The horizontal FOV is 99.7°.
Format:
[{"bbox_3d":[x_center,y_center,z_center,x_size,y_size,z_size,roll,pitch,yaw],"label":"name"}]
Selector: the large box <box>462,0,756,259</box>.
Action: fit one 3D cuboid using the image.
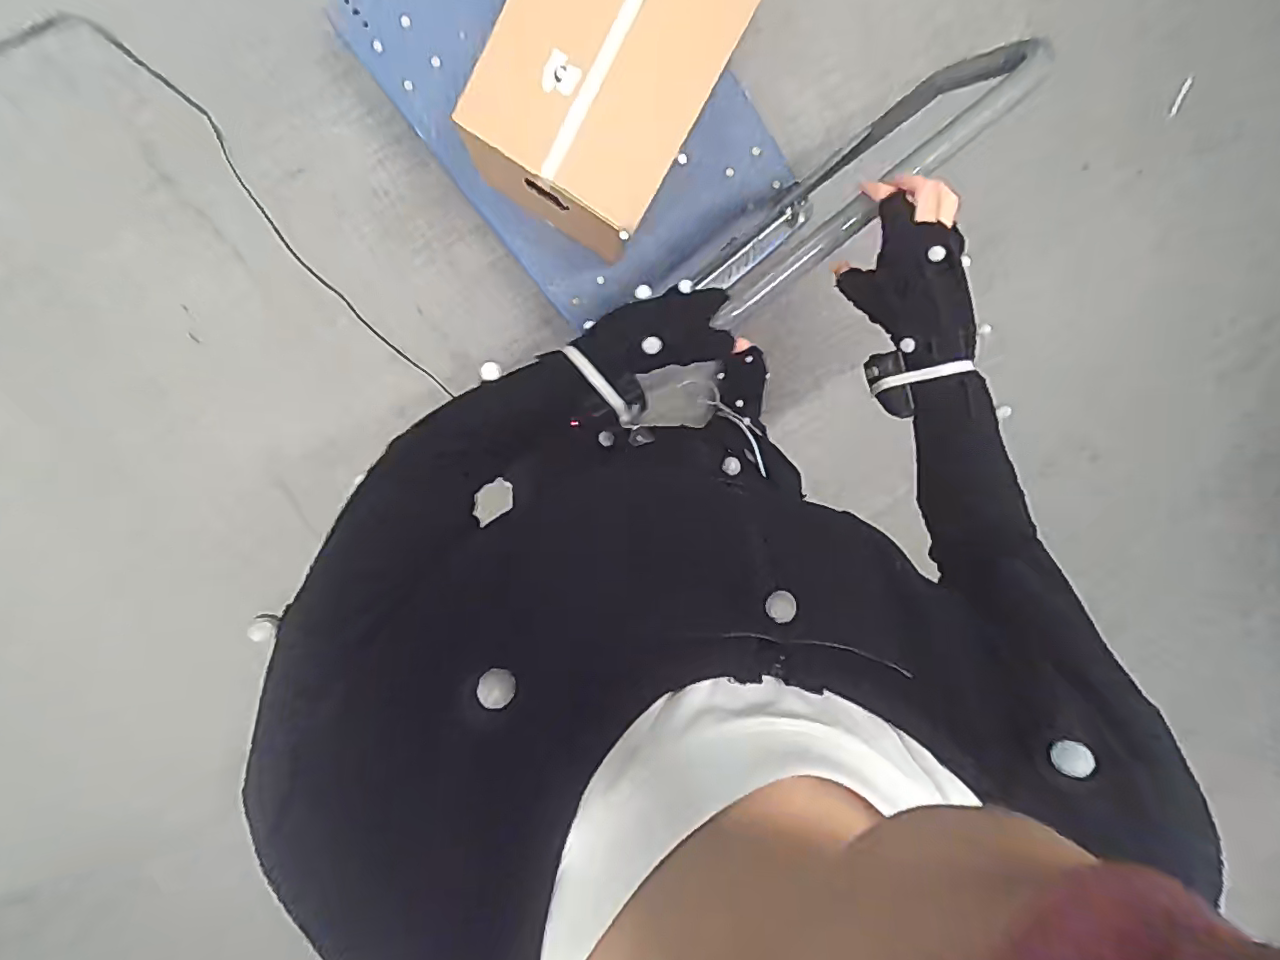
[{"bbox_3d":[-0.061,-0.673,0.958,0.320,0.320,0.408,28,100,-11],"label":"large box"}]
